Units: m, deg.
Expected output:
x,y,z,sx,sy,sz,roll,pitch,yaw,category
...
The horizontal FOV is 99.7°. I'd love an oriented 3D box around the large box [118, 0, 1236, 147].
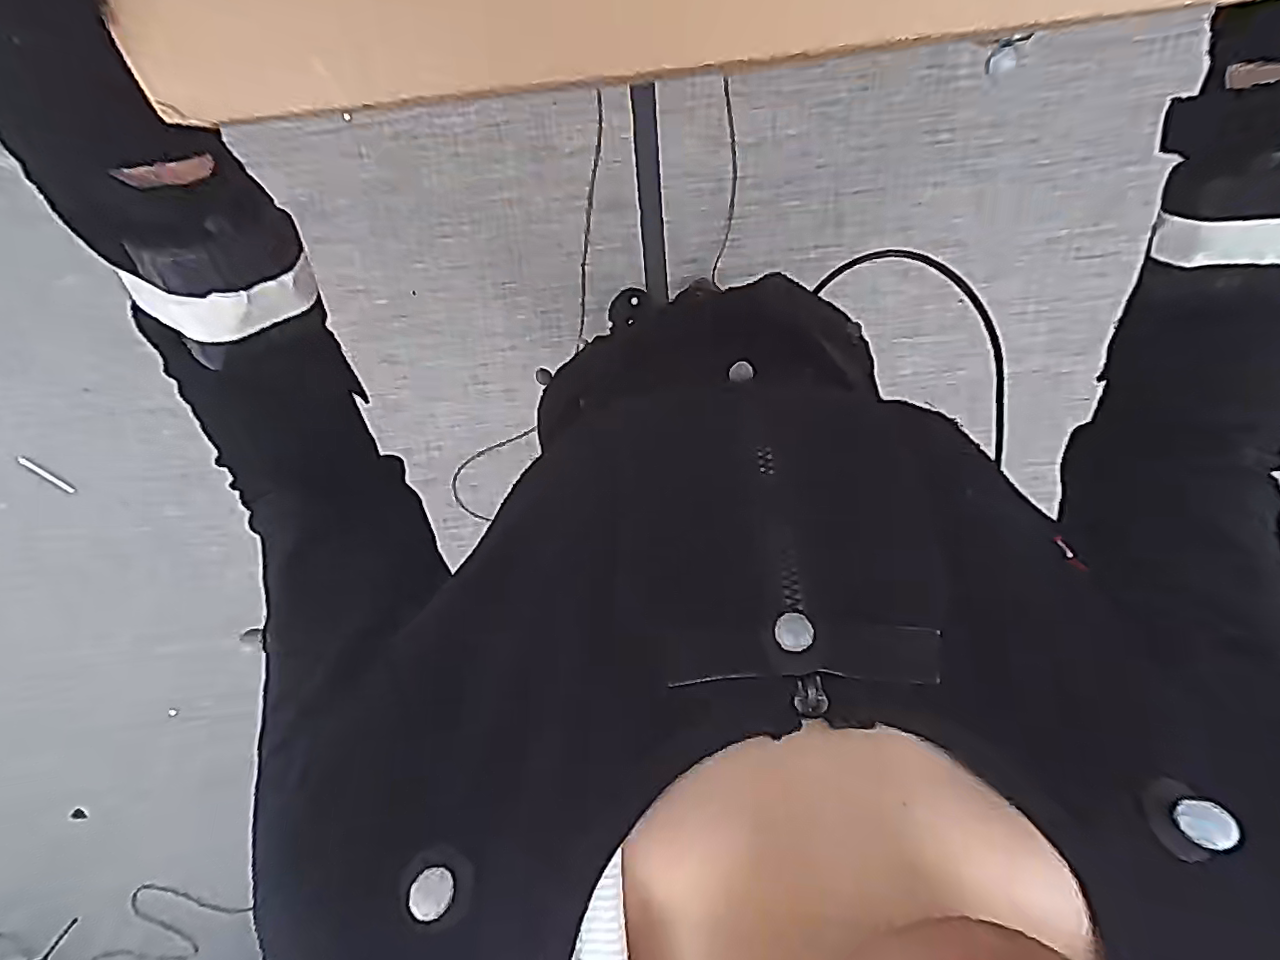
x,y,z,sx,sy,sz,roll,pitch,yaw,category
0.005,-0.360,0.225,0.408,0.320,0.320,-6,127,2,large box
